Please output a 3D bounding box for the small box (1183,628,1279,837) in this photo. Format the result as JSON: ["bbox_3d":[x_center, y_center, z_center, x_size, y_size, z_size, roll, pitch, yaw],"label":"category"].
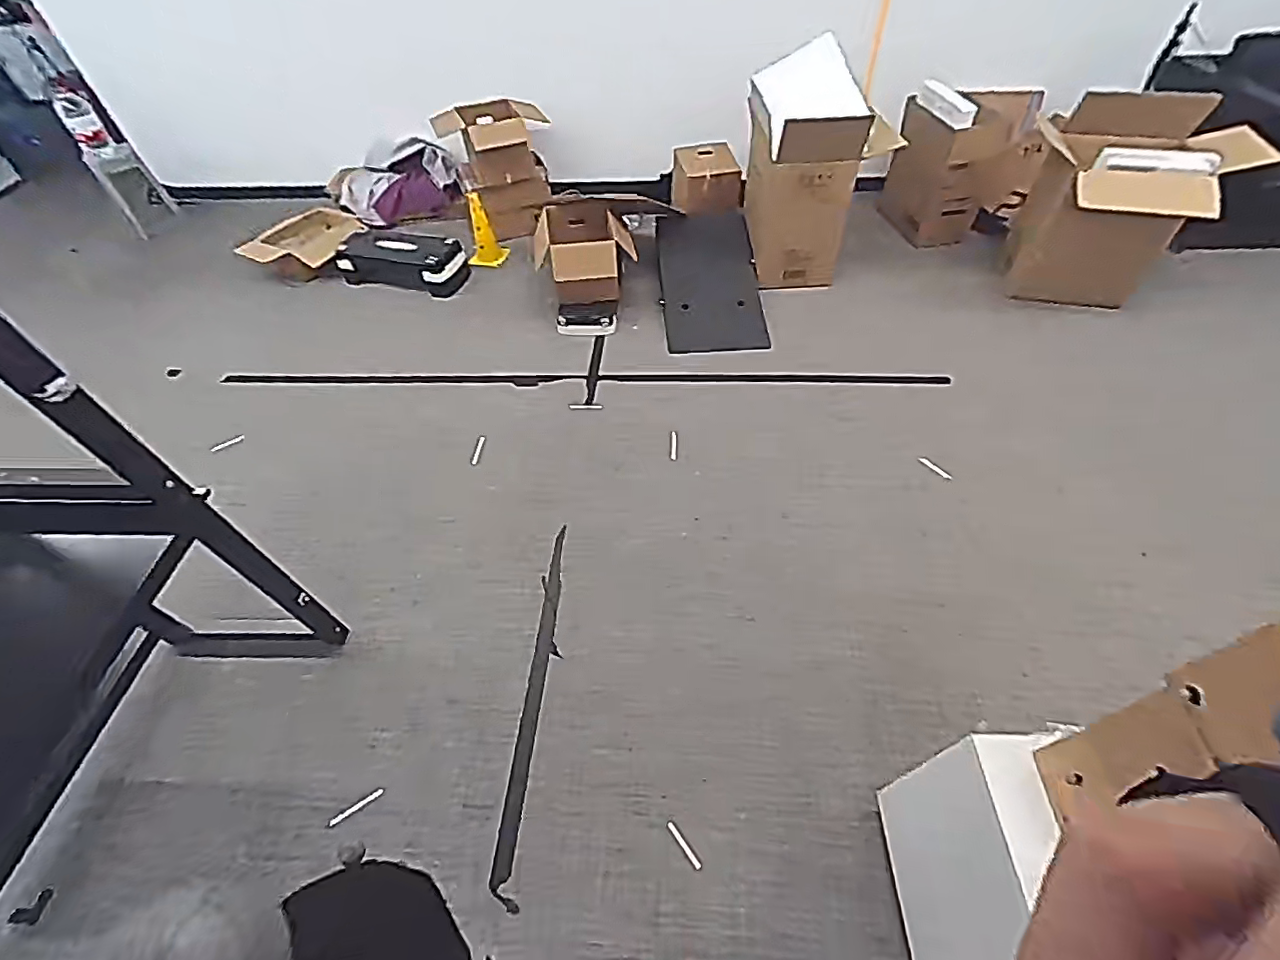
[{"bbox_3d":[0.732,0.269,0.557,0.179,0.176,0.168,4,51,4],"label":"small box"}]

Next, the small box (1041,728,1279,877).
[{"bbox_3d":[0.746,0.484,0.806,0.179,0.176,0.168,1,51,3],"label":"small box"}]
